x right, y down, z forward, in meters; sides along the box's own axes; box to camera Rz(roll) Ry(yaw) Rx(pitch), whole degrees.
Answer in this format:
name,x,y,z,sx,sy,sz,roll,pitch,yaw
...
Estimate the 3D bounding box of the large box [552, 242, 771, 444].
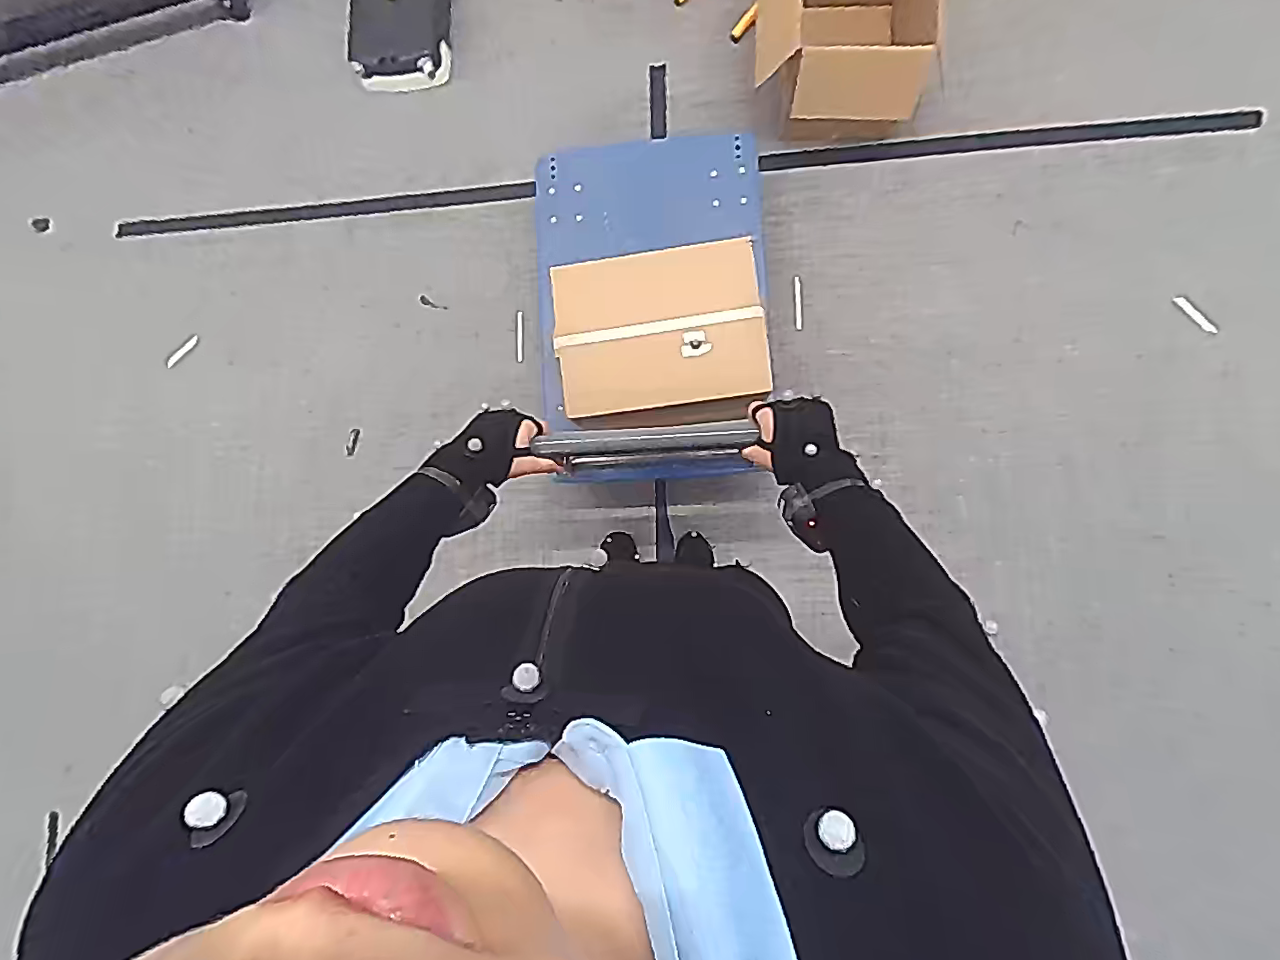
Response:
name,x,y,z,sx,sy,sz,roll,pitch,yaw
large box,0.046,-0.280,1.211,0.408,0.320,0.320,-8,86,3
